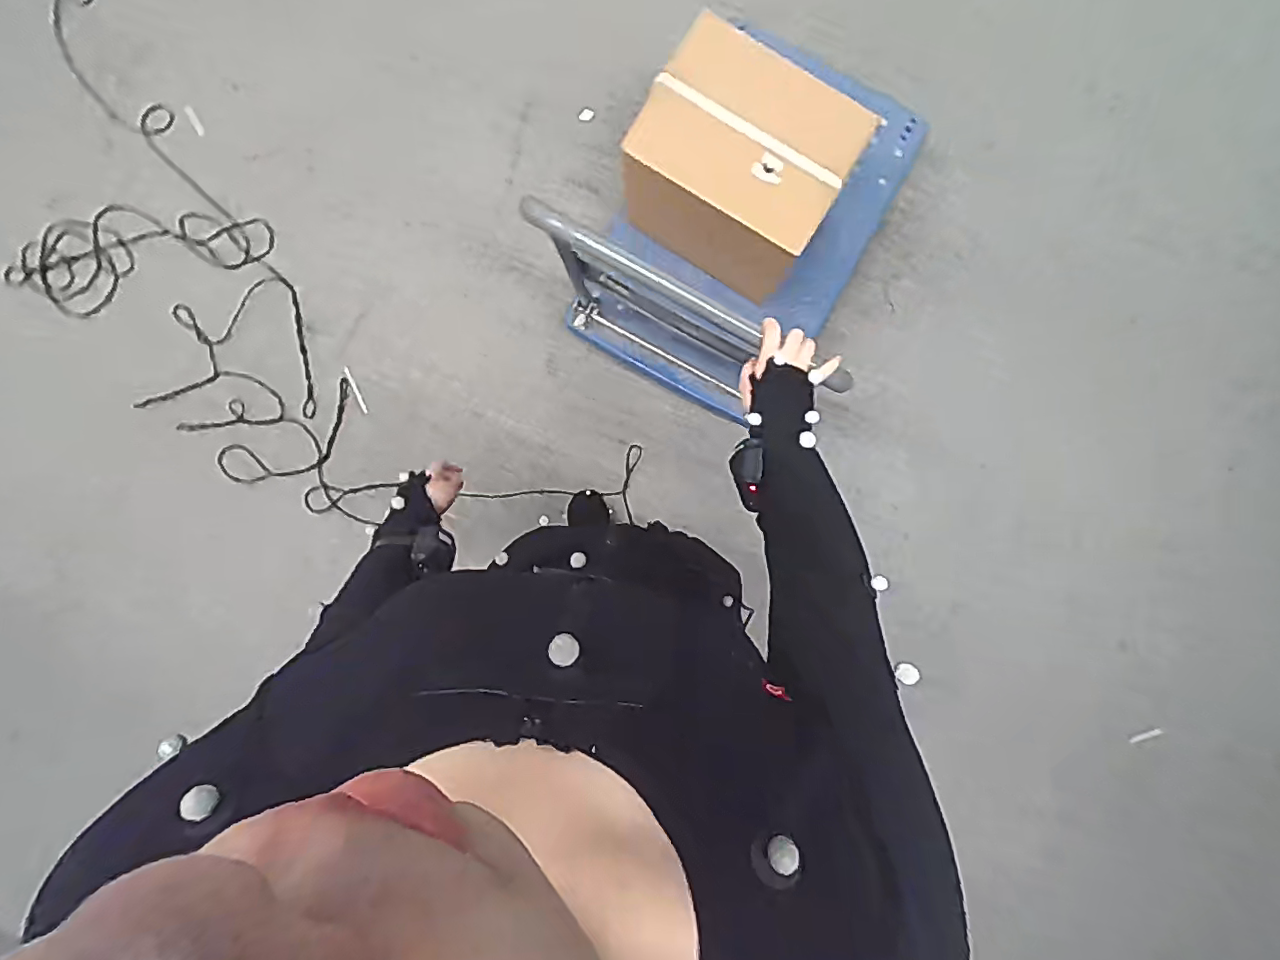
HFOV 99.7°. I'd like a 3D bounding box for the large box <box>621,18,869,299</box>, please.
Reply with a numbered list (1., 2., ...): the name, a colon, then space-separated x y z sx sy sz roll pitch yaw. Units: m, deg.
1. large box: 0.201 -0.675 1.201 0.408 0.320 0.320 31 91 -1
